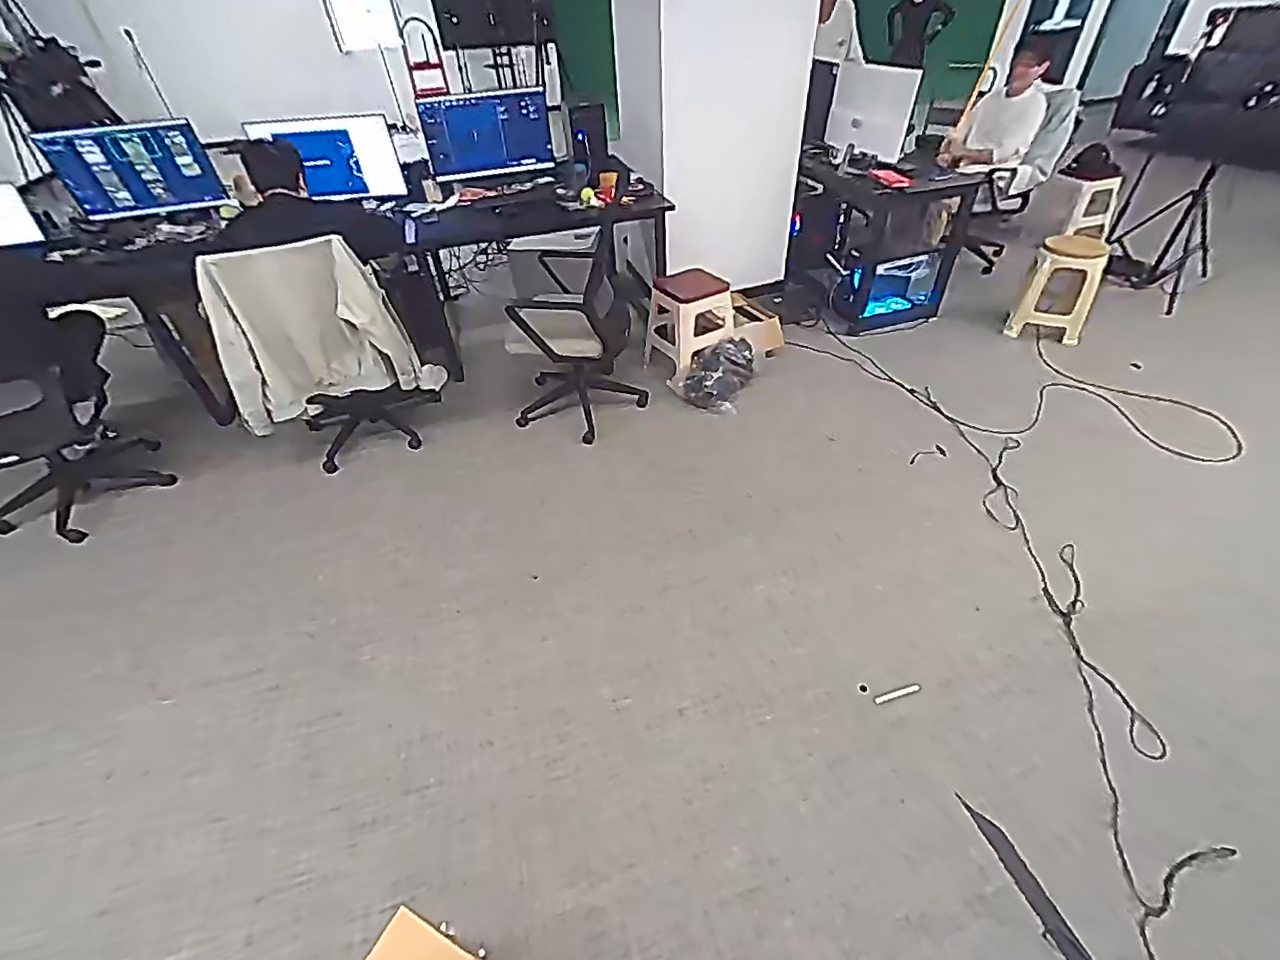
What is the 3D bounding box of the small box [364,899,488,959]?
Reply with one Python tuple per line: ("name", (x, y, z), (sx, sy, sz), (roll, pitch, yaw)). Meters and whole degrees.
("small box", (-0.383, 0.889, 0.947), (0.179, 0.176, 0.168), (18, 45, 20))
